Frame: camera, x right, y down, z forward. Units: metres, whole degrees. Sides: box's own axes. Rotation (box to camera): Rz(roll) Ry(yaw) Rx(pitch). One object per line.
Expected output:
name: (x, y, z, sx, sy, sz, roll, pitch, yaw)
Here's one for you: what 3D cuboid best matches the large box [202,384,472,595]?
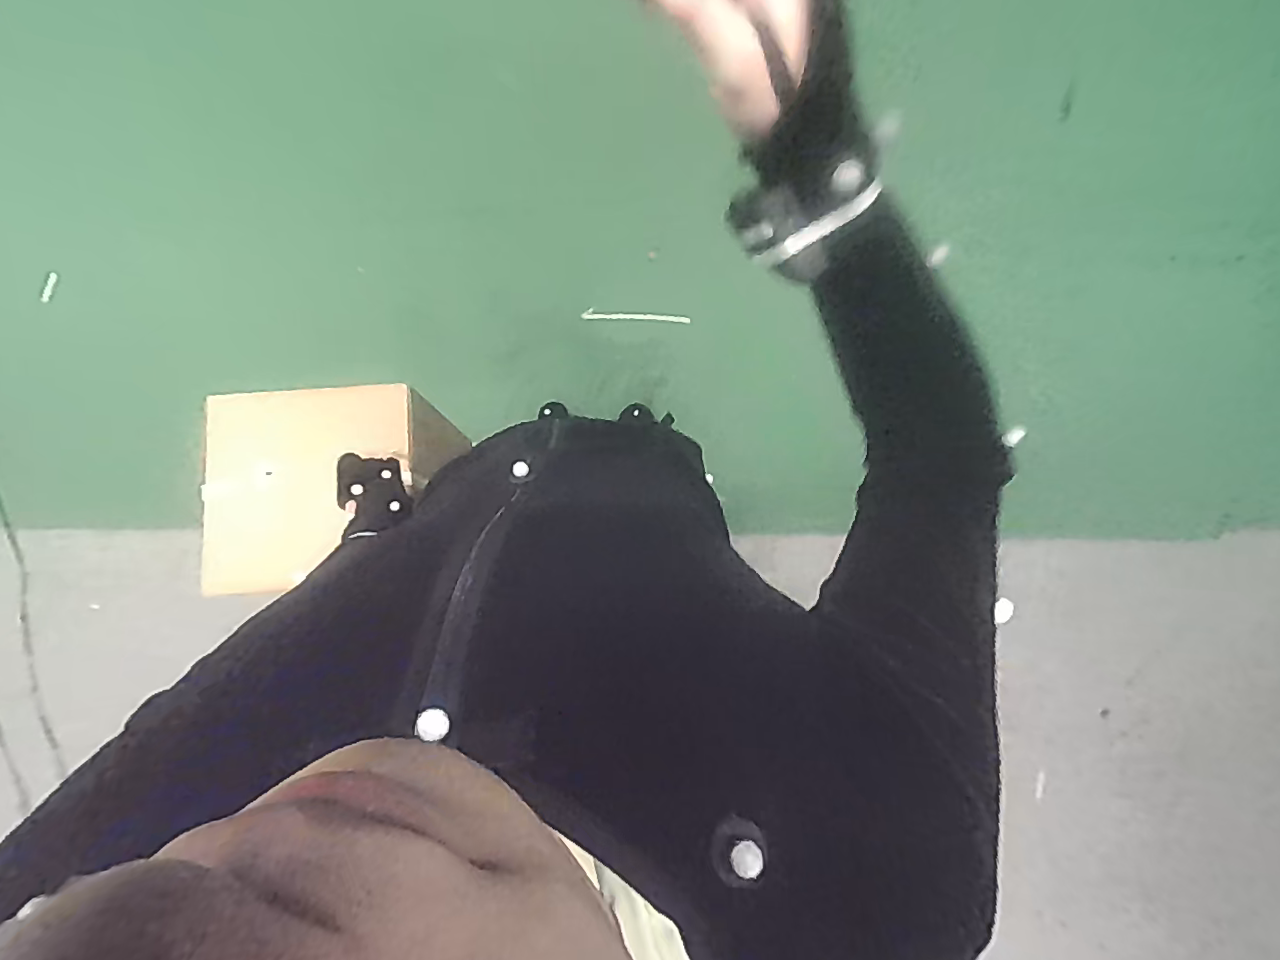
large box: (-0.528, 0.033, 1.023, 0.320, 0.408, 0.320, -4, 82, -5)
